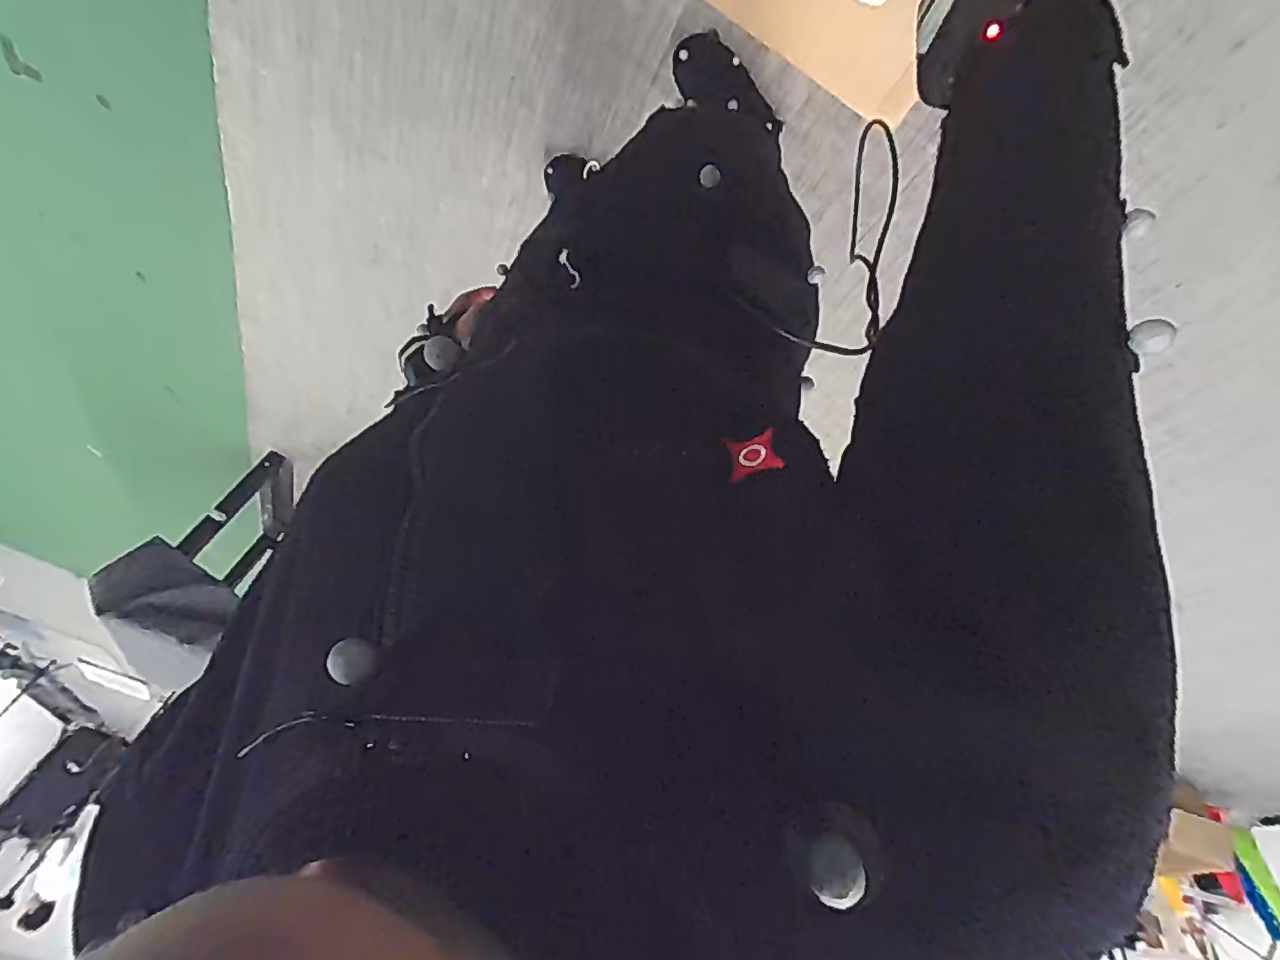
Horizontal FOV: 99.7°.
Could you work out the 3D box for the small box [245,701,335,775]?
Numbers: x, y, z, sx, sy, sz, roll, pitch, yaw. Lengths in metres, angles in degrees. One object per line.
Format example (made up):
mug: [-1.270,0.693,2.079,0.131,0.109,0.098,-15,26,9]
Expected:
small box: [-1.135,0.834,1.758,0.179,0.176,0.168,33,136,-18]

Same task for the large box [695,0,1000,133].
large box: [0.269,-0.745,0.693,0.408,0.320,0.320,26,137,-12]
